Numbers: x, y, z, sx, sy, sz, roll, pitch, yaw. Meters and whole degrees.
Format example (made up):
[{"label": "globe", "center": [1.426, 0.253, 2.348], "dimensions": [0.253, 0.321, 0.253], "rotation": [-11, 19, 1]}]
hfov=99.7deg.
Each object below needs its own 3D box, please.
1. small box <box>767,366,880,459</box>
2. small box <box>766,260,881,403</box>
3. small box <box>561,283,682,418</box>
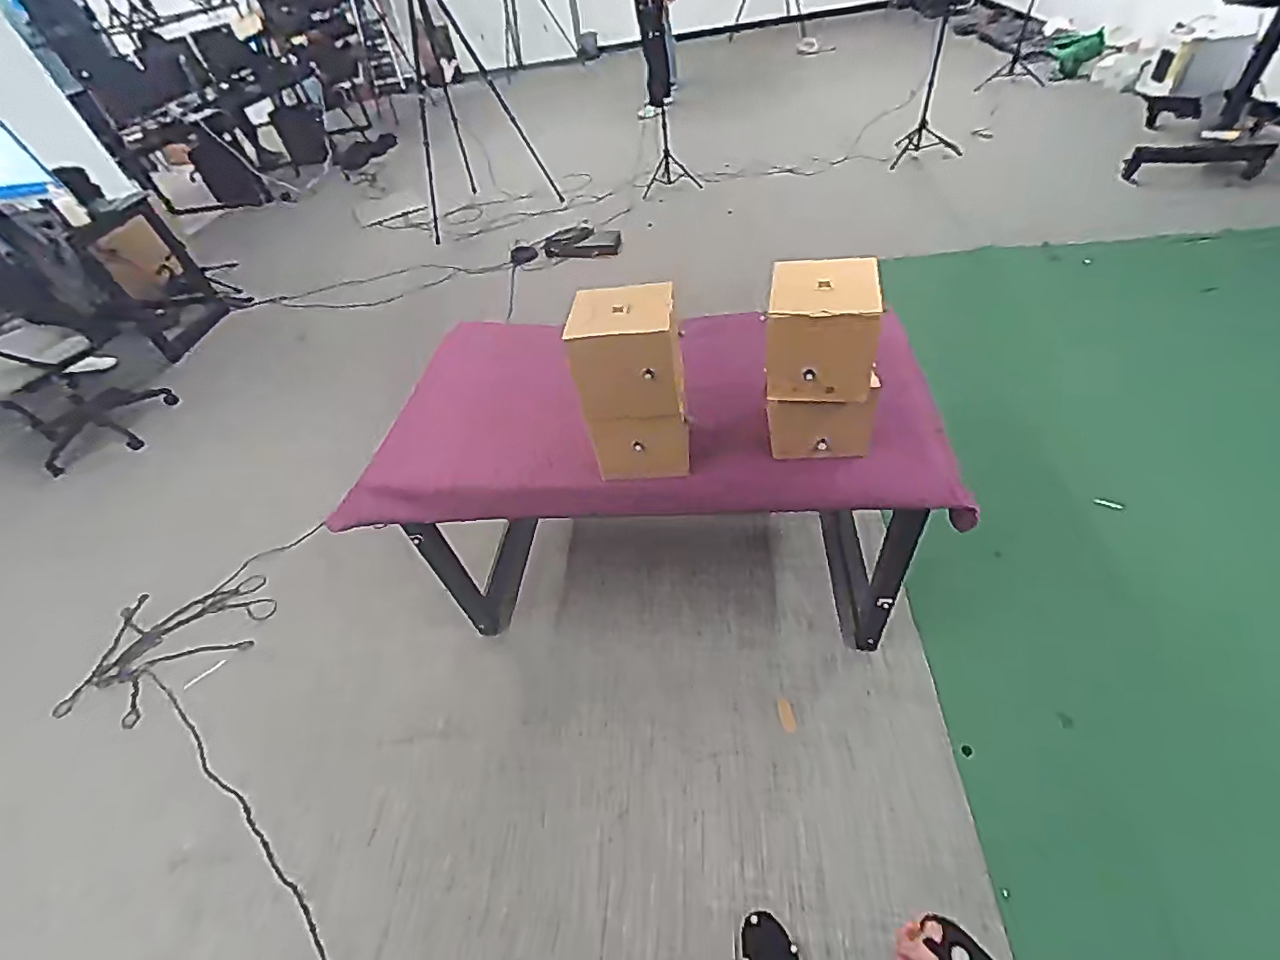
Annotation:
[{"label": "small box", "center": [0.343, -0.155, 1.044], "dimensions": [0.179, 0.176, 0.168], "rotation": [-2, 45, 9]}, {"label": "small box", "center": [0.304, -0.253, 0.918], "dimensions": [0.168, 0.176, 0.179], "rotation": [3, 48, 15]}, {"label": "small box", "center": [-0.021, -0.224, 0.954], "dimensions": [0.179, 0.176, 0.168], "rotation": [-2, 45, 10]}]
